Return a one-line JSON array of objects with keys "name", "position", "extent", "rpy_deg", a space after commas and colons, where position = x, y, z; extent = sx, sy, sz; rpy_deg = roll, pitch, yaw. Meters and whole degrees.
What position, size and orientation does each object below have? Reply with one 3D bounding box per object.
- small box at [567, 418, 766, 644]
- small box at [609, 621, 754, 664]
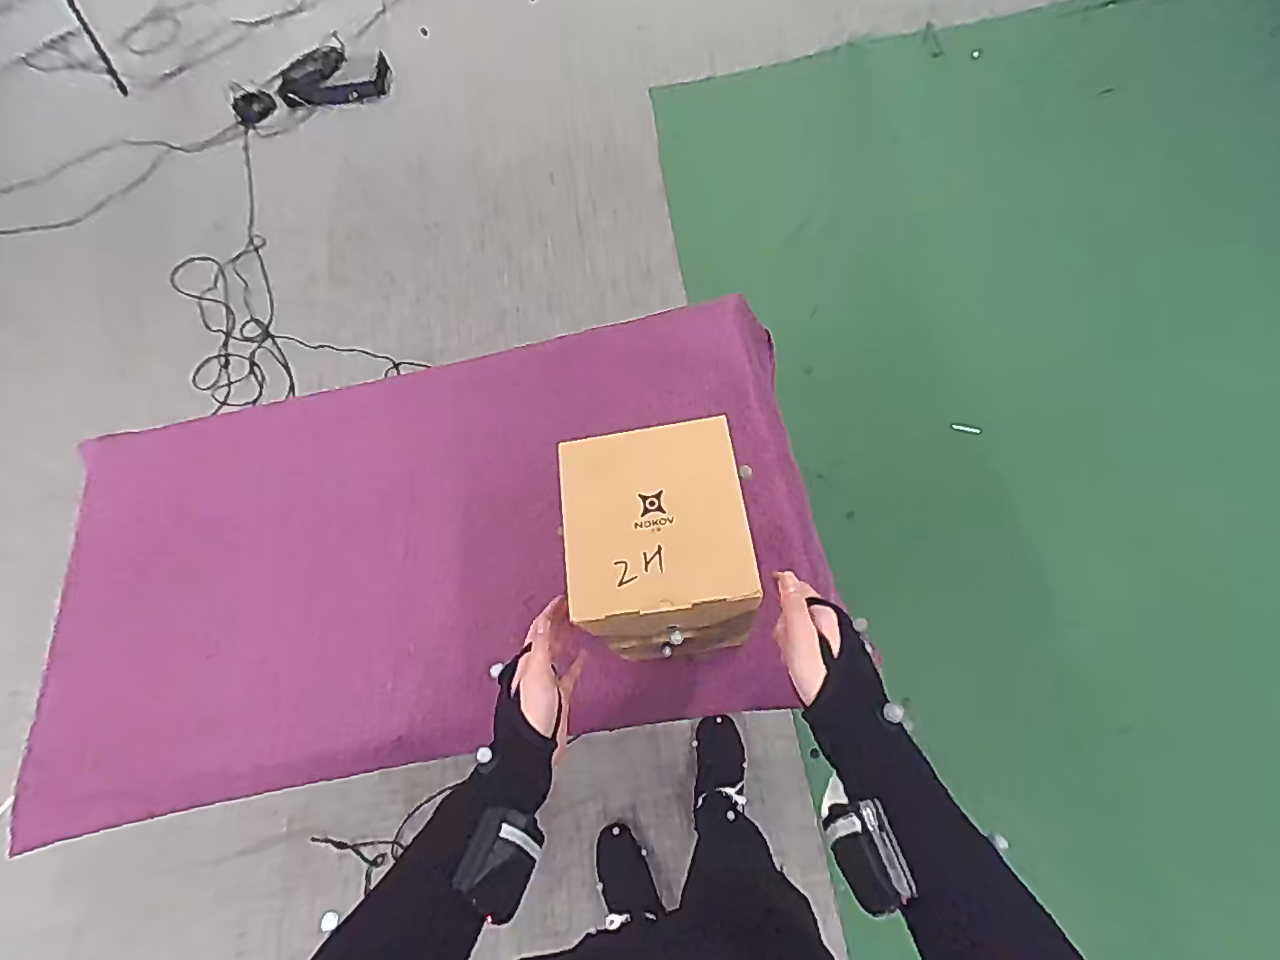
[{"name": "small box", "position": [0.026, 0.061, 0.557], "extent": [0.168, 0.176, 0.179], "rpy_deg": [-9, 66, 5]}, {"name": "small box", "position": [0.047, 0.133, 0.706], "extent": [0.168, 0.176, 0.179], "rpy_deg": [-10, 66, 4]}]
